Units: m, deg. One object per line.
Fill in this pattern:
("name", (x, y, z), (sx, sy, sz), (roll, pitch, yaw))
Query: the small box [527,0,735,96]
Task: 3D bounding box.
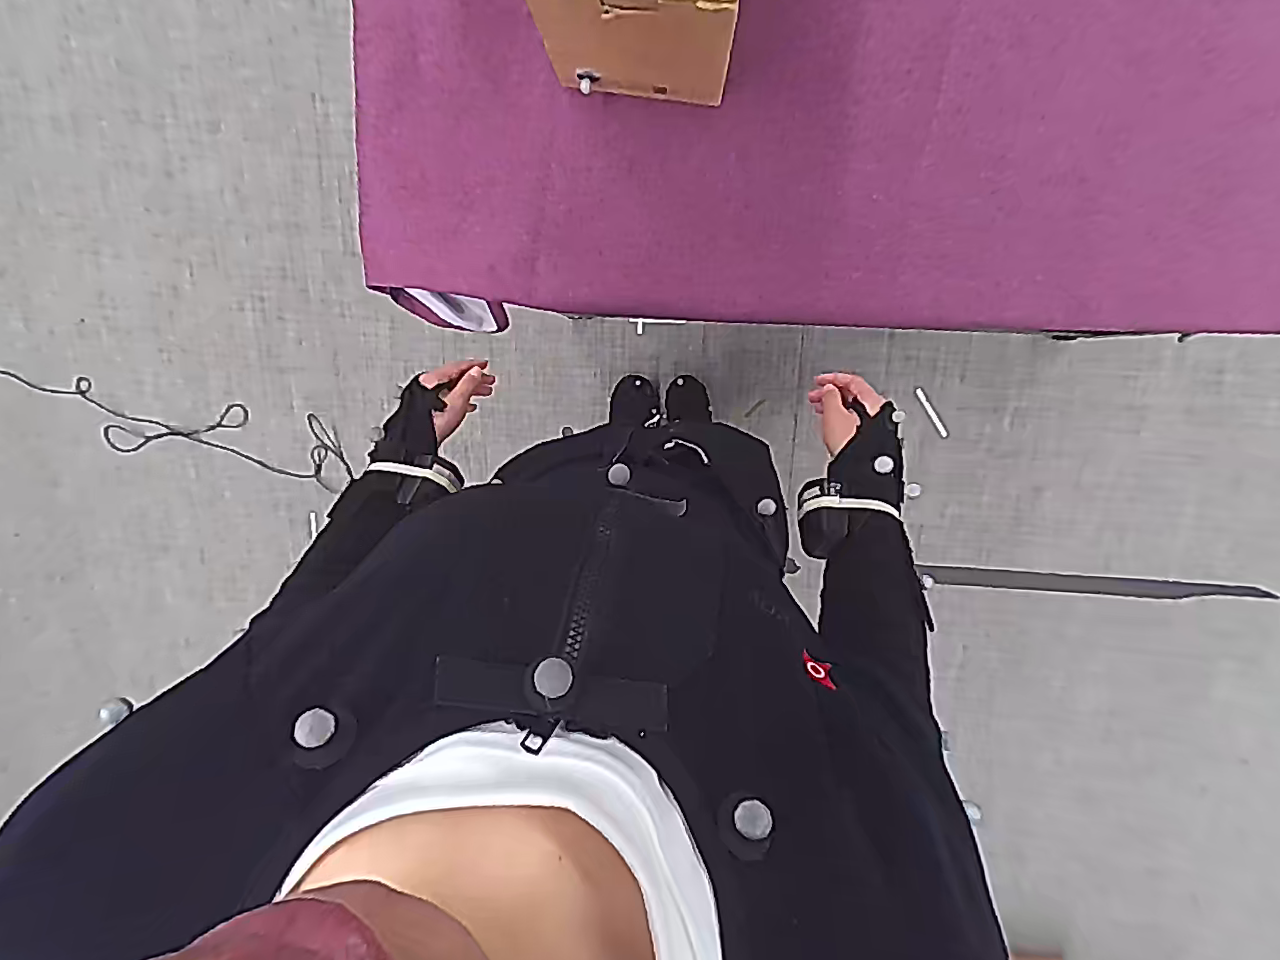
("small box", (0.005, -0.460, 0.453), (0.168, 0.176, 0.179), (8, 103, 1))
